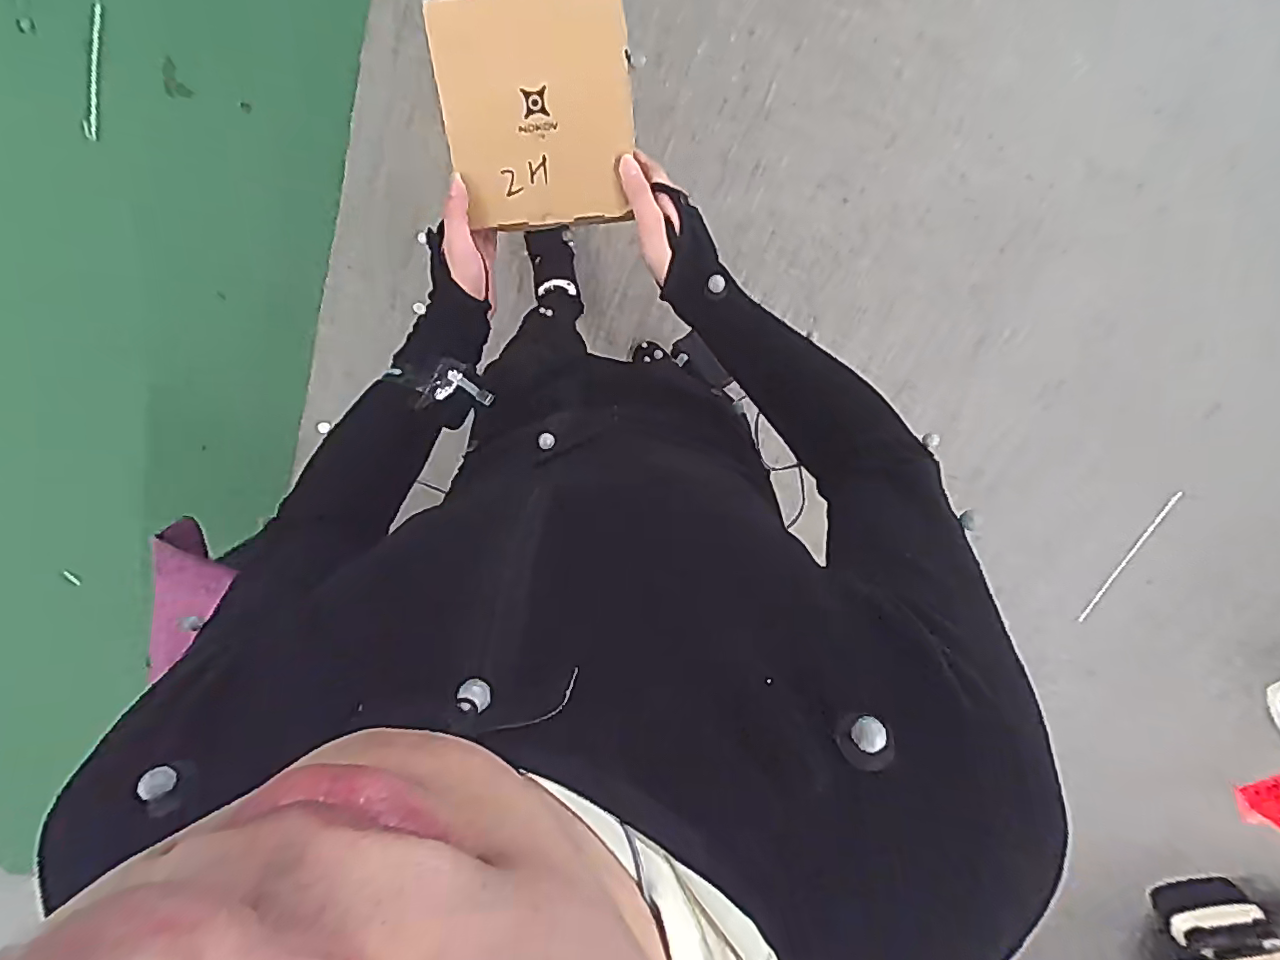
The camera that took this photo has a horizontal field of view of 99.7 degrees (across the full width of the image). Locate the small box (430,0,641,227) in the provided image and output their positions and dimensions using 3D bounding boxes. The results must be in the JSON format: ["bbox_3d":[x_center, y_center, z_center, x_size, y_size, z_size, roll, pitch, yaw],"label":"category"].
[{"bbox_3d":[-0.086,-0.356,0.541,0.168,0.176,0.179,-3,115,2],"label":"small box"}]

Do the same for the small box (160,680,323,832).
[{"bbox_3d":[-0.742,0.509,1.019,0.179,0.176,0.168,20,110,-5],"label":"small box"}]

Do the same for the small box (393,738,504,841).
[{"bbox_3d":[-0.376,0.641,1.050,0.168,0.176,0.179,19,110,-4],"label":"small box"}]
